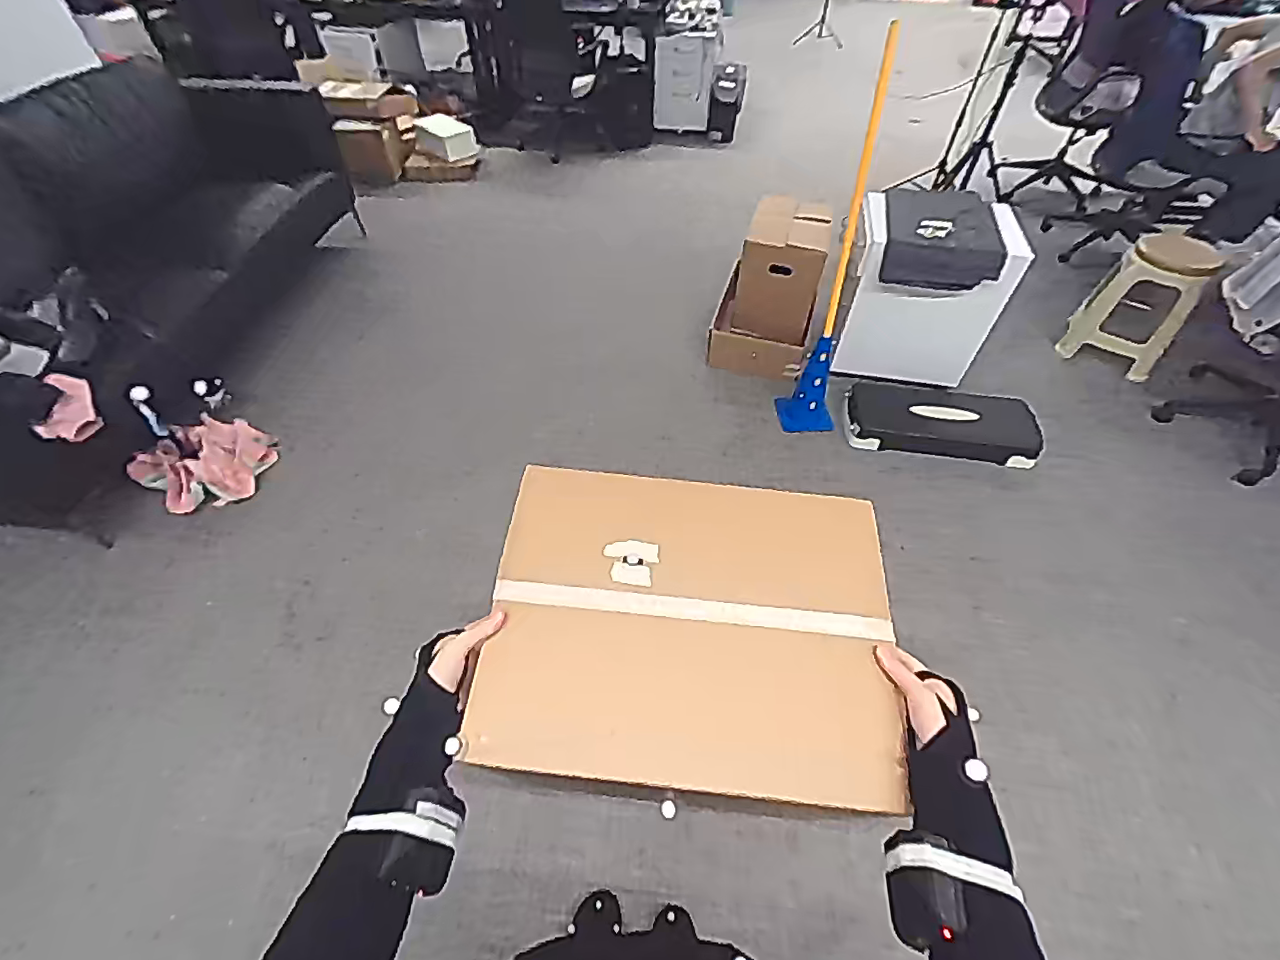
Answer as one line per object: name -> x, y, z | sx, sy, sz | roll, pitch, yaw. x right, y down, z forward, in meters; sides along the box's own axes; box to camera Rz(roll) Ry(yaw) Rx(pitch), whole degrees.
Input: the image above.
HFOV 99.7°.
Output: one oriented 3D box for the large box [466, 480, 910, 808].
large box -> 0.051, 0.220, 0.683 | 0.408, 0.320, 0.320 | 5, 56, 2
